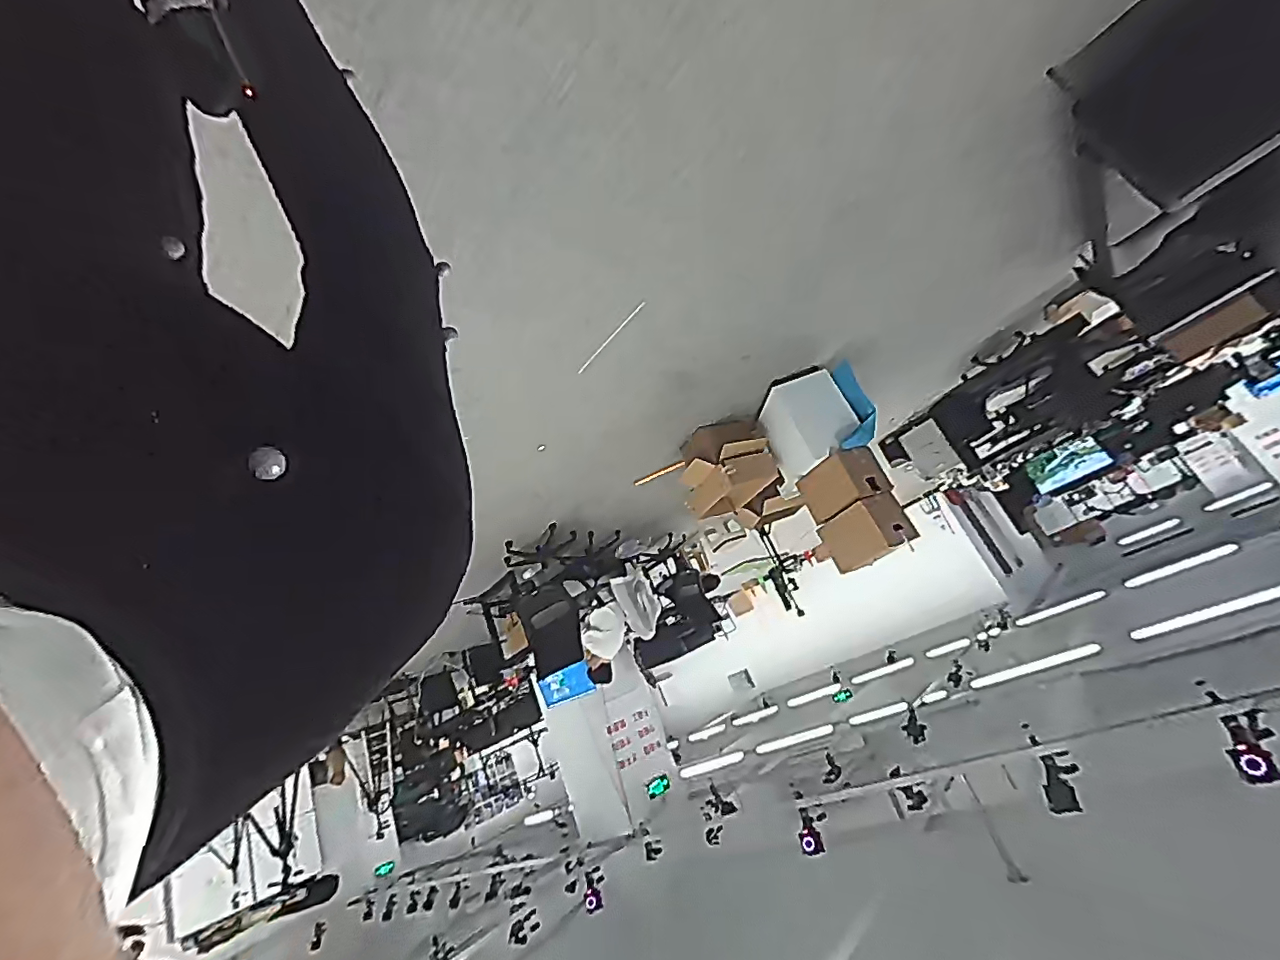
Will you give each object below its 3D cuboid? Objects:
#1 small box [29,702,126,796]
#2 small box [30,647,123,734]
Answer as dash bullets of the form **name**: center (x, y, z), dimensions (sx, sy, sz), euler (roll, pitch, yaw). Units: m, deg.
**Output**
- **small box**: center (-1.556, 0.738, 1.496), dimensions (0.179, 0.176, 0.168), euler (1, 148, -48)
- **small box**: center (-1.617, 0.600, 1.554), dimensions (0.179, 0.176, 0.168), euler (2, 149, -48)
